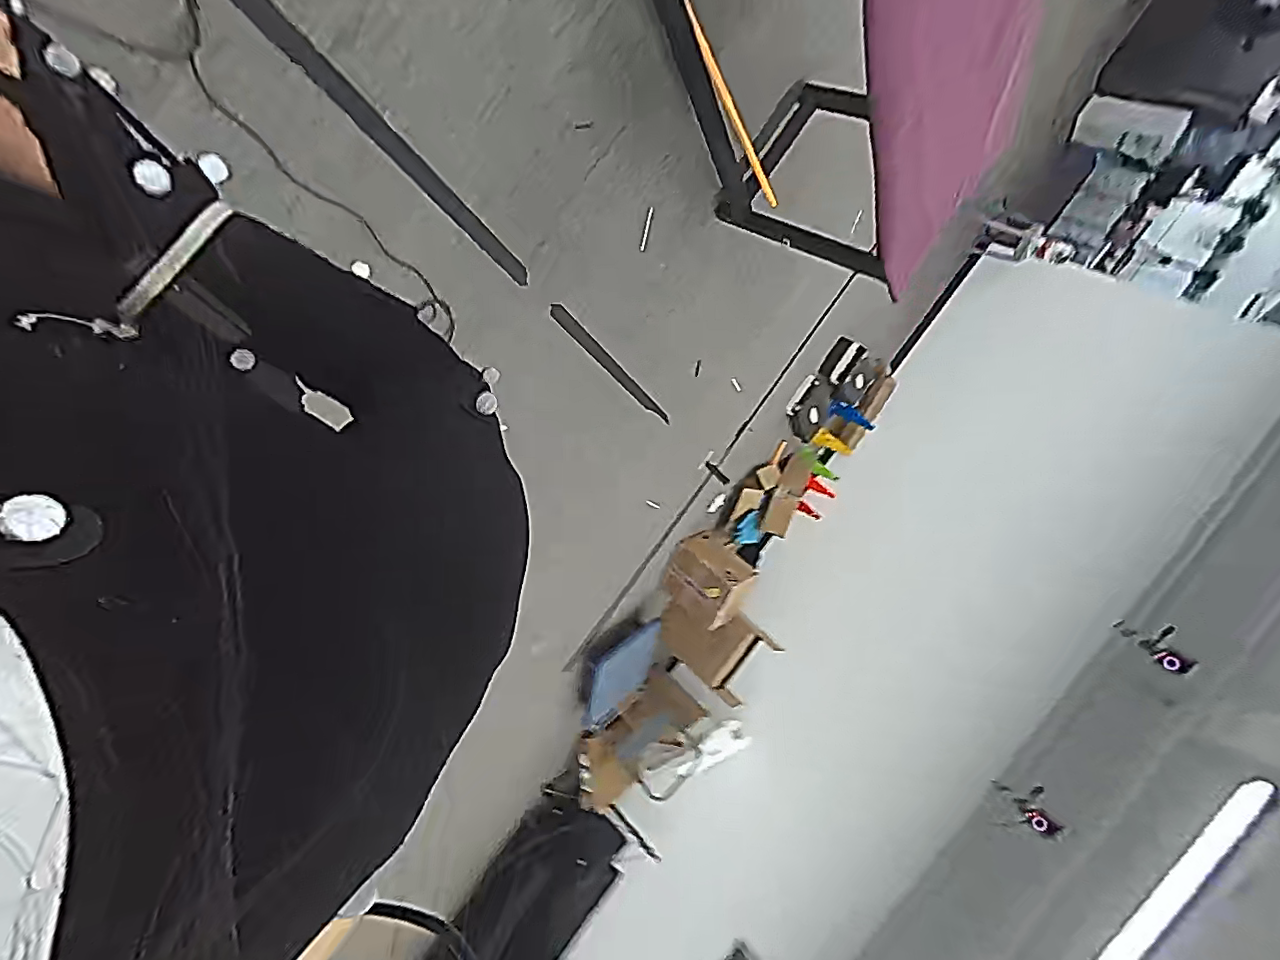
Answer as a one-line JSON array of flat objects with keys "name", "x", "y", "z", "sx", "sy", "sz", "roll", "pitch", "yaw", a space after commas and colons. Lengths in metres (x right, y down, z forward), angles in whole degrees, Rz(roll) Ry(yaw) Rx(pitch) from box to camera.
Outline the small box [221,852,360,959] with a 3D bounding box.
[{"name": "small box", "x": -0.785, "y": 0.989, "z": 1.213, "sx": 0.168, "sy": 0.176, "sz": 0.179, "roll": -54, "pitch": 153, "yaw": 0}]
